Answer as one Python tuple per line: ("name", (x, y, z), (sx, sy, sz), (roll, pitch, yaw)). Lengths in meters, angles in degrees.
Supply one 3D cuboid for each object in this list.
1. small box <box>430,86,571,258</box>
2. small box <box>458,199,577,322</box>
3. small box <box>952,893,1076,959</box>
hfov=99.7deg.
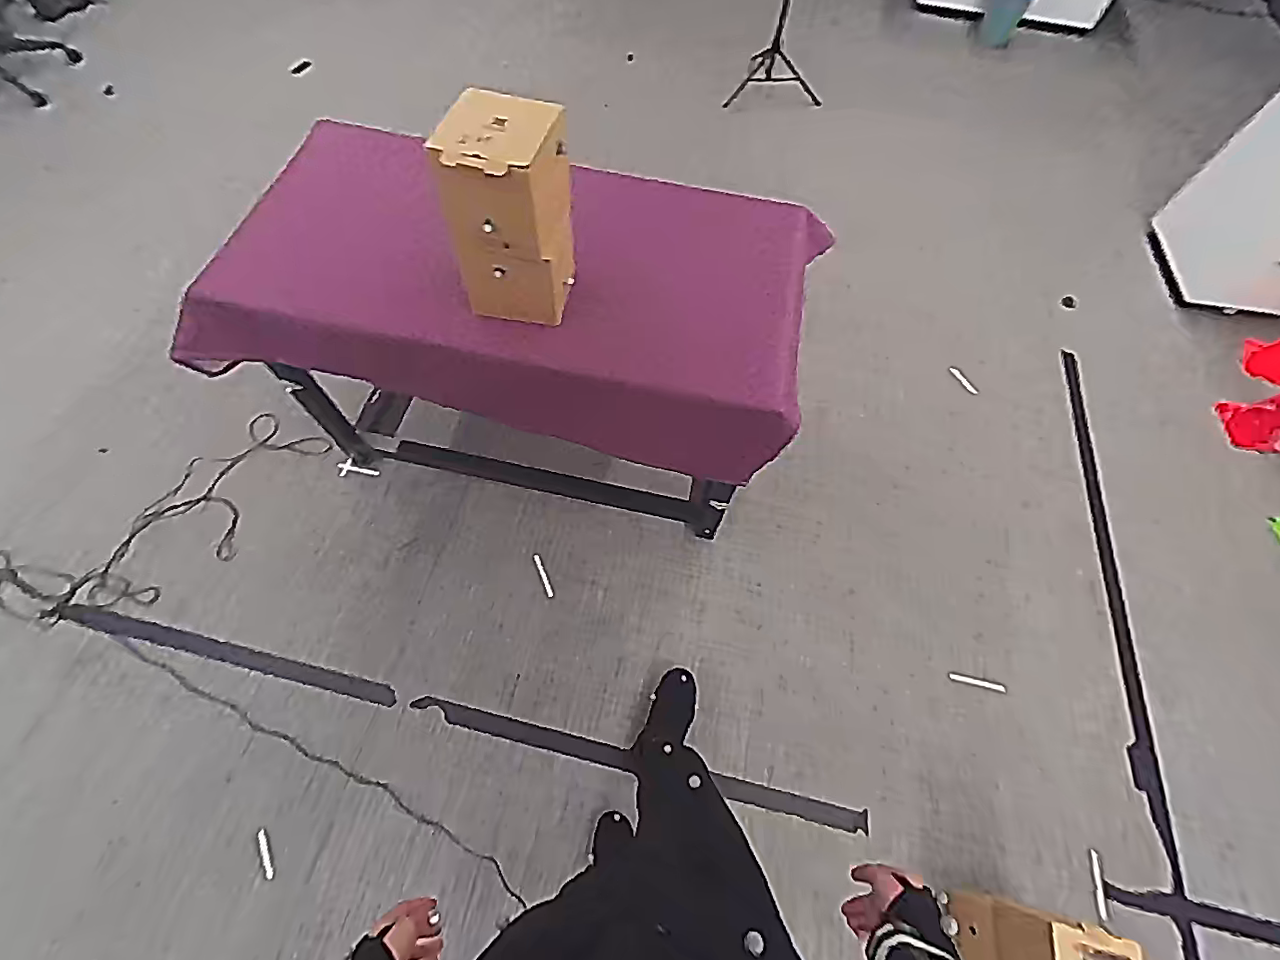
("small box", (-0.217, -0.508, 0.901), (0.168, 0.176, 0.179), (14, 63, 4))
("small box", (-0.226, -0.429, 1.046), (0.179, 0.176, 0.168), (9, 63, 1))
("small box", (0.809, 1.031, 1.181), (0.179, 0.176, 0.168), (9, 63, 1))
